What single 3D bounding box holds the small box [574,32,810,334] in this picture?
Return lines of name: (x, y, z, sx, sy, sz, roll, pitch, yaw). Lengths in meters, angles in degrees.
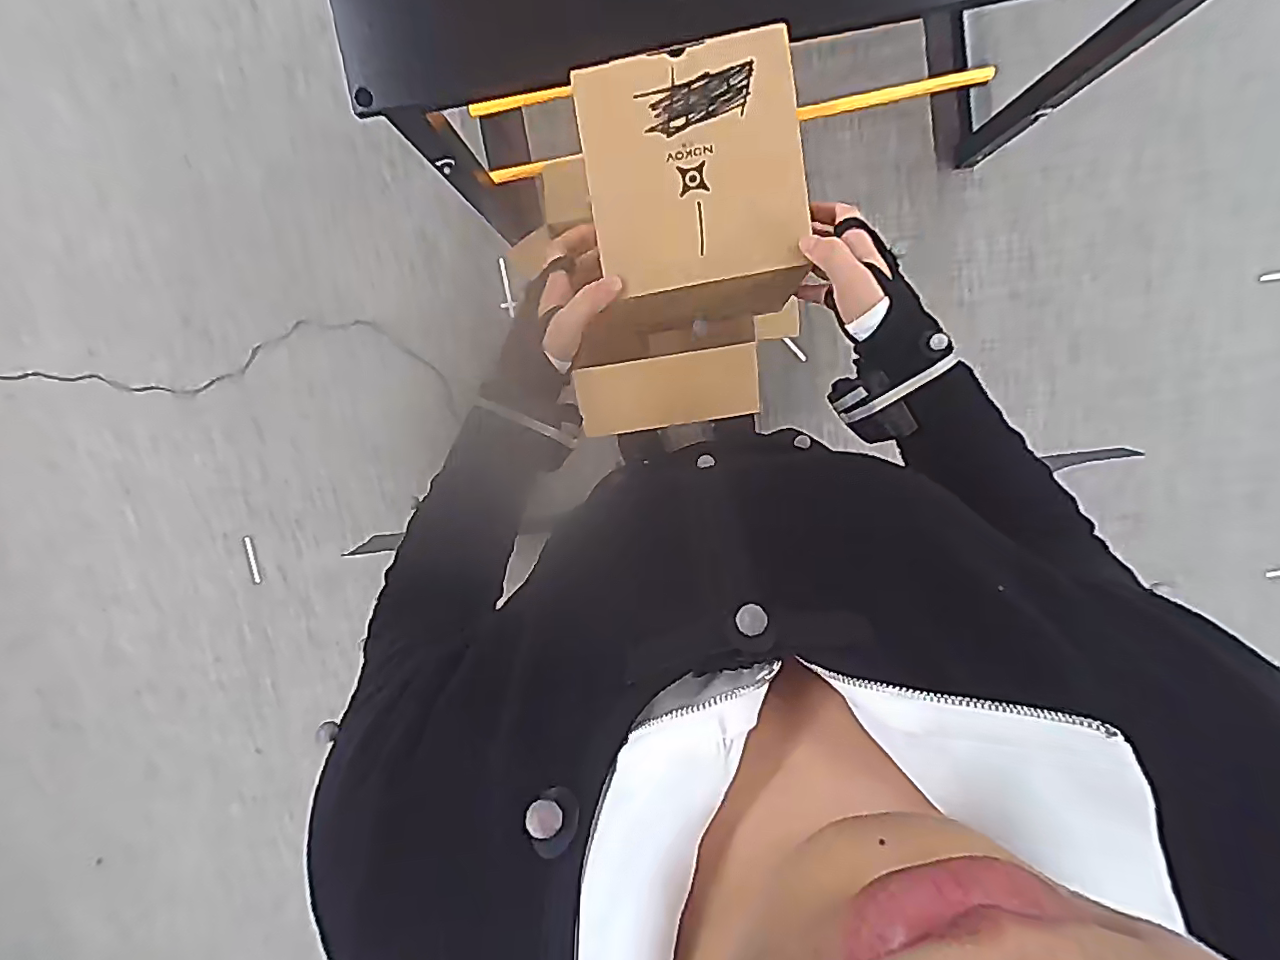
small box: (0.047, -0.247, 0.499, 0.168, 0.176, 0.179, -9, 95, 7)
